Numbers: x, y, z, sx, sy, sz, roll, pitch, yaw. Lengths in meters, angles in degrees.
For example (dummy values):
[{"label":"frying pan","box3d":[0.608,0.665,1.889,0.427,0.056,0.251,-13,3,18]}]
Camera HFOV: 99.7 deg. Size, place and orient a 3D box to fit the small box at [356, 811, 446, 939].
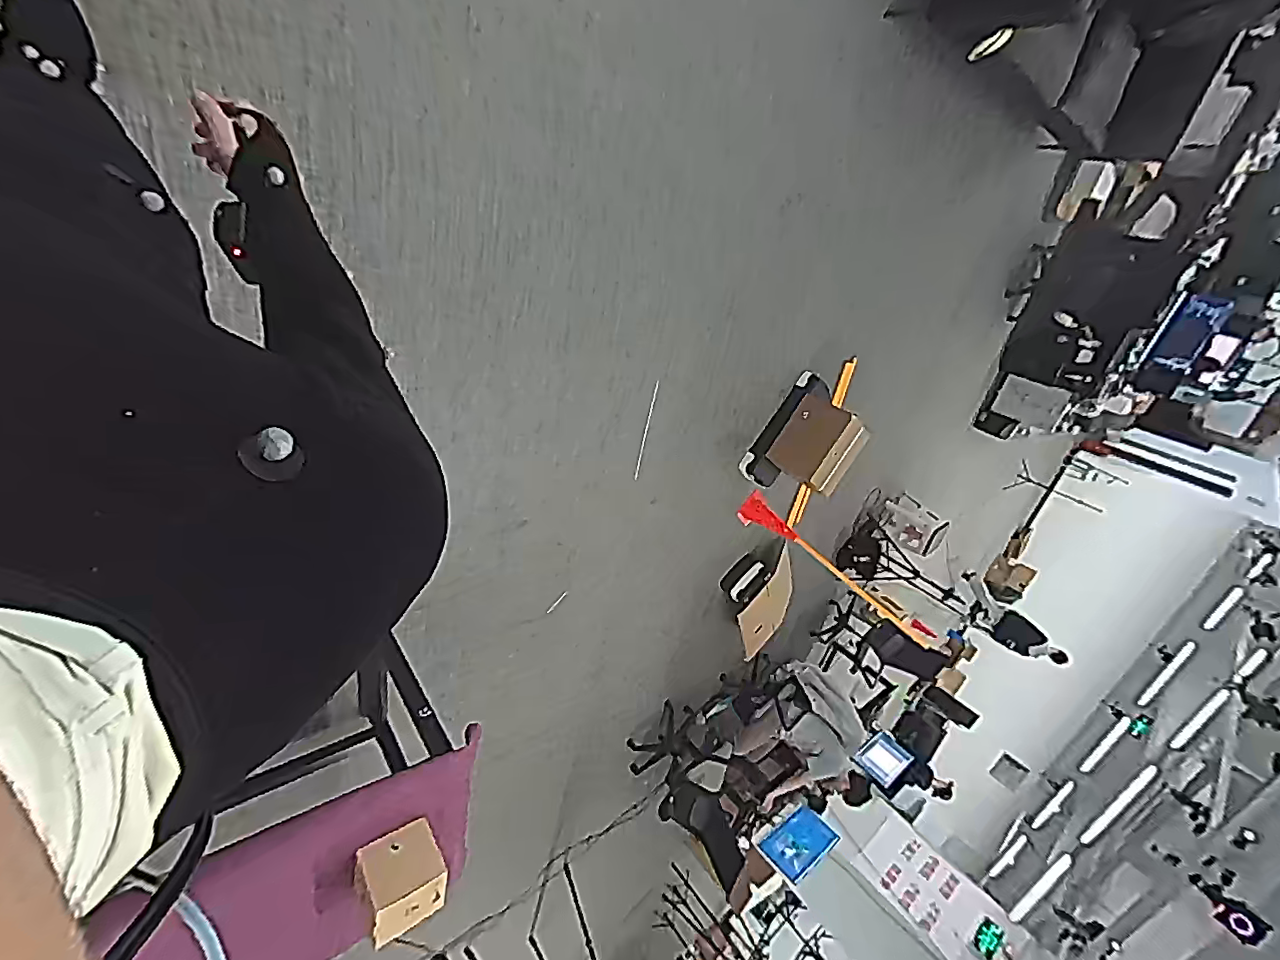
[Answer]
[{"label":"small box","box3d":[-0.629,1.022,1.413,0.179,0.176,0.168,-8,124,-41]}]
